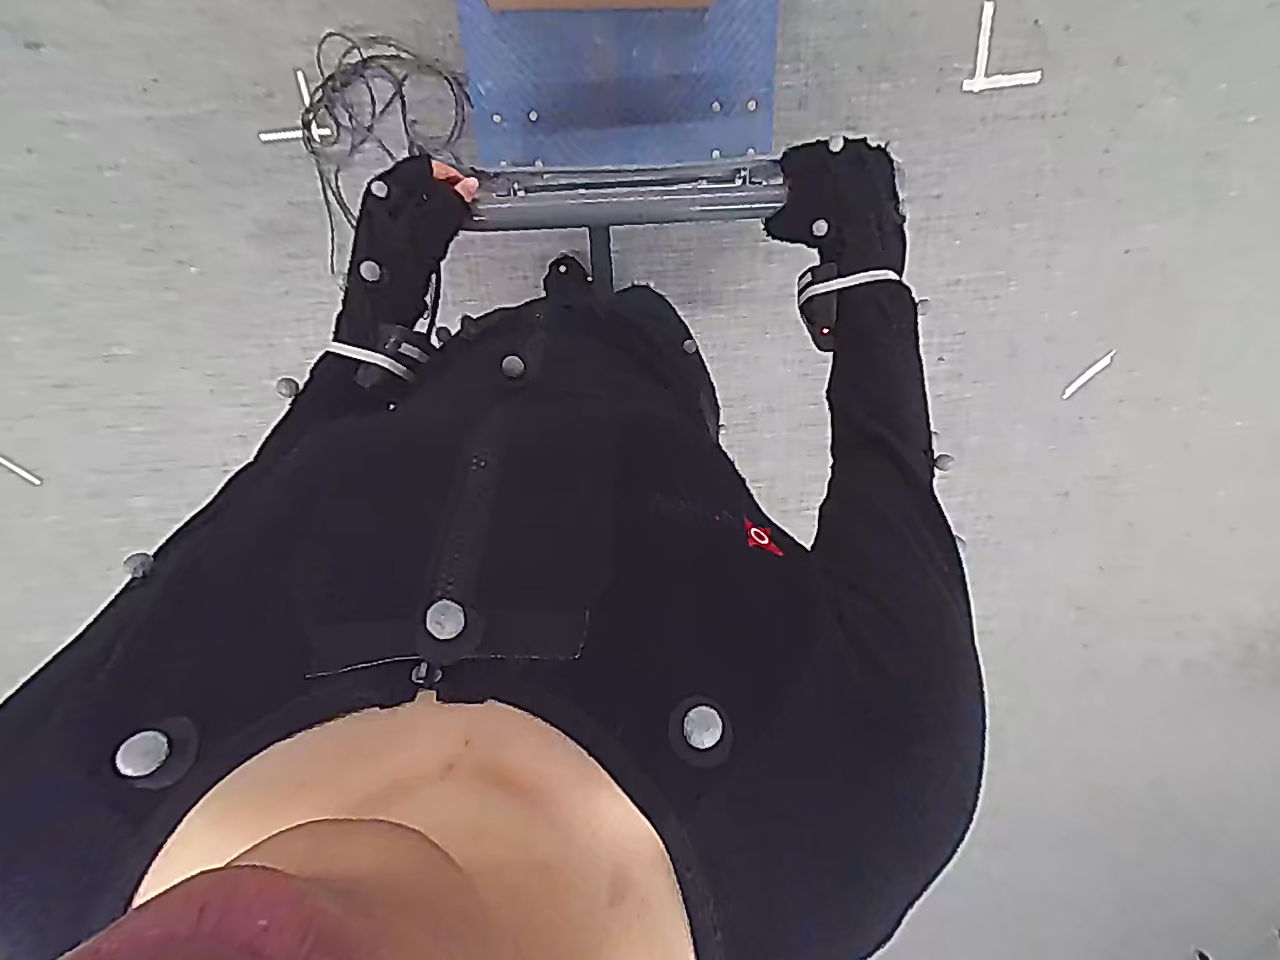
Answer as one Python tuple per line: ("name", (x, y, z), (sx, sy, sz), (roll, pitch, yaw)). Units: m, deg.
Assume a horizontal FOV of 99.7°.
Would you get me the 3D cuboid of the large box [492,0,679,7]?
("large box", (-0.065, -0.932, 0.778), (0.408, 0.320, 0.320), (-3, 115, -1))
